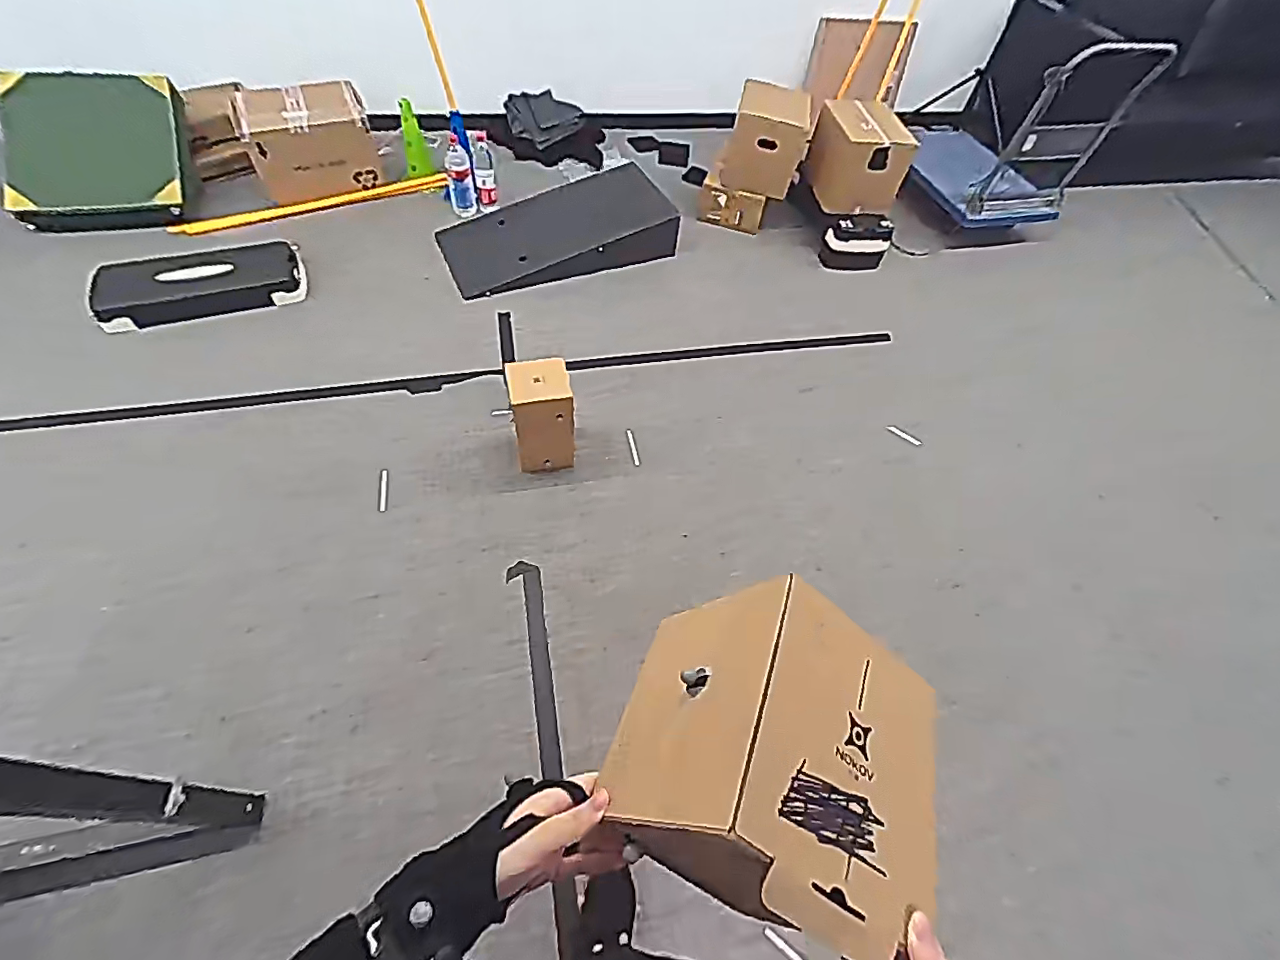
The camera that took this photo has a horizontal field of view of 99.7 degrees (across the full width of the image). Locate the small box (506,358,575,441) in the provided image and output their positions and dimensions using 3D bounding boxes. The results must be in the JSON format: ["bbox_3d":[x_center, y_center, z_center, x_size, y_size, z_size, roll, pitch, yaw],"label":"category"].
[{"bbox_3d":[-0.291,-0.235,1.595,0.179,0.176,0.168,-9,57,-12],"label":"small box"}]

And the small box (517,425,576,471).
[{"bbox_3d":[-0.305,-0.145,1.731,0.179,0.176,0.168,-7,57,-12],"label":"small box"}]

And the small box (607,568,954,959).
[{"bbox_3d":[0.099,0.200,0.400,0.168,0.176,0.179,40,49,-13],"label":"small box"}]
